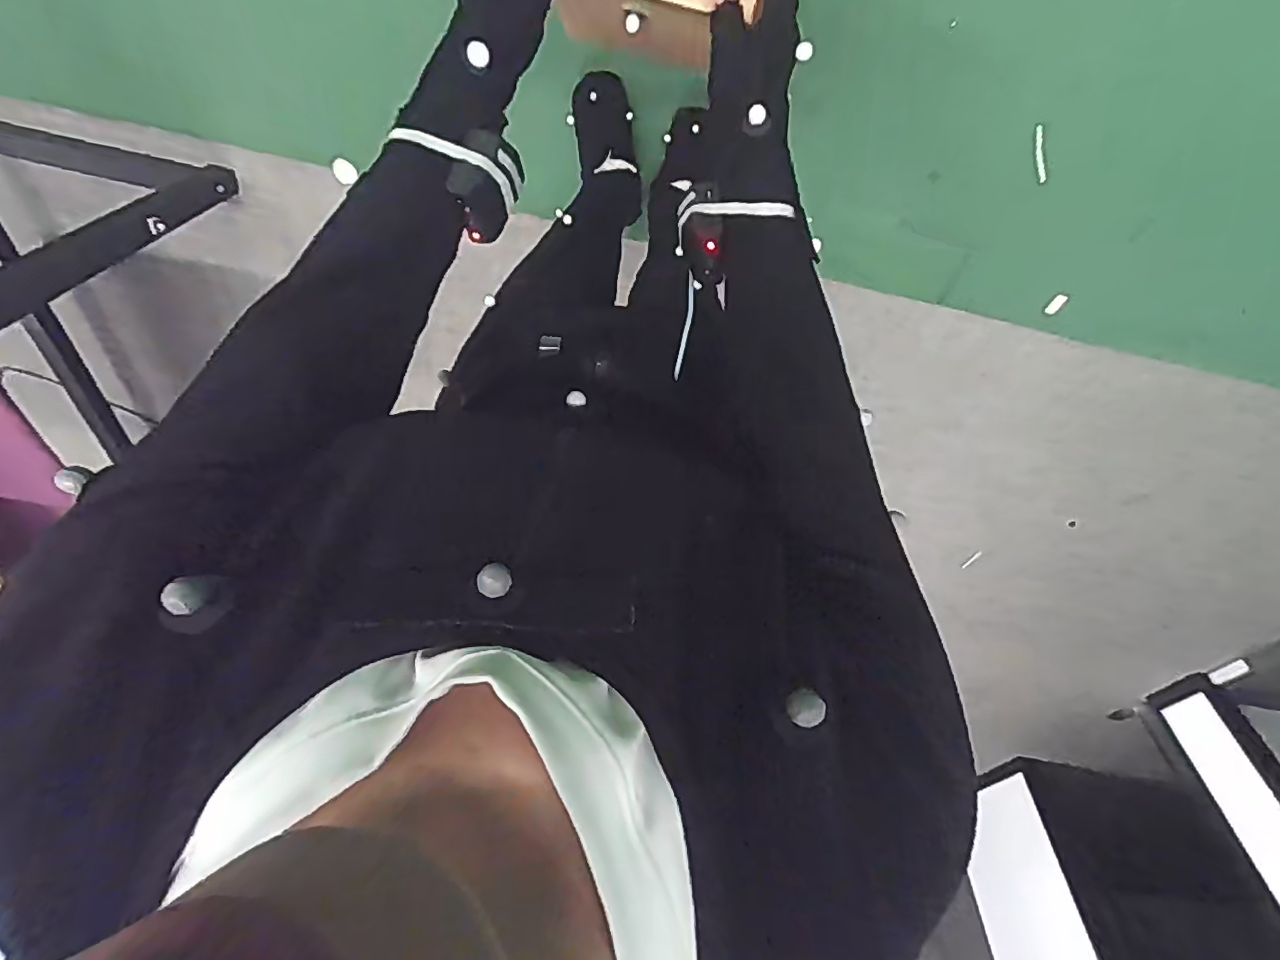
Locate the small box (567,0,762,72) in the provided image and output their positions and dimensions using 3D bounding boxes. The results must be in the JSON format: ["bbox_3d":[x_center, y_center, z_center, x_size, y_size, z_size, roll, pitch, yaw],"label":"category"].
[{"bbox_3d":[0.027,-0.492,0.475,0.179,0.176,0.168,9,112,-2],"label":"small box"}]
